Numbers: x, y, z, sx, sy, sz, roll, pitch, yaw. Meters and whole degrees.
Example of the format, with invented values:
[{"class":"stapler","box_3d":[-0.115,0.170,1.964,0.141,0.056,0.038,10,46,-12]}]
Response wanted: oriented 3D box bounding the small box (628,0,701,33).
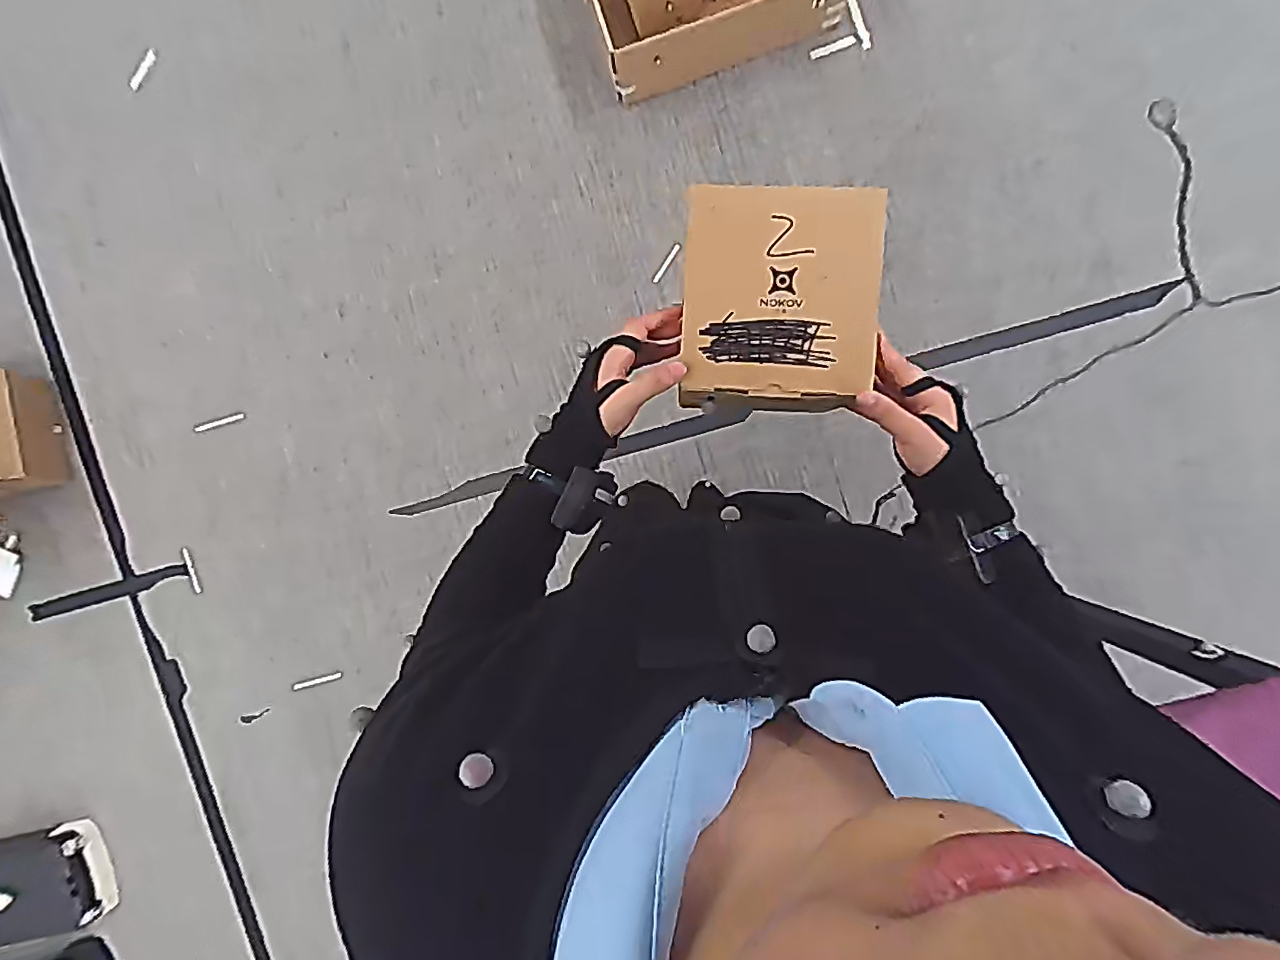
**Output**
[{"class":"small box","box_3d":[0.050,-1.238,1.308,0.168,0.176,0.179,-19,92,2]}]
